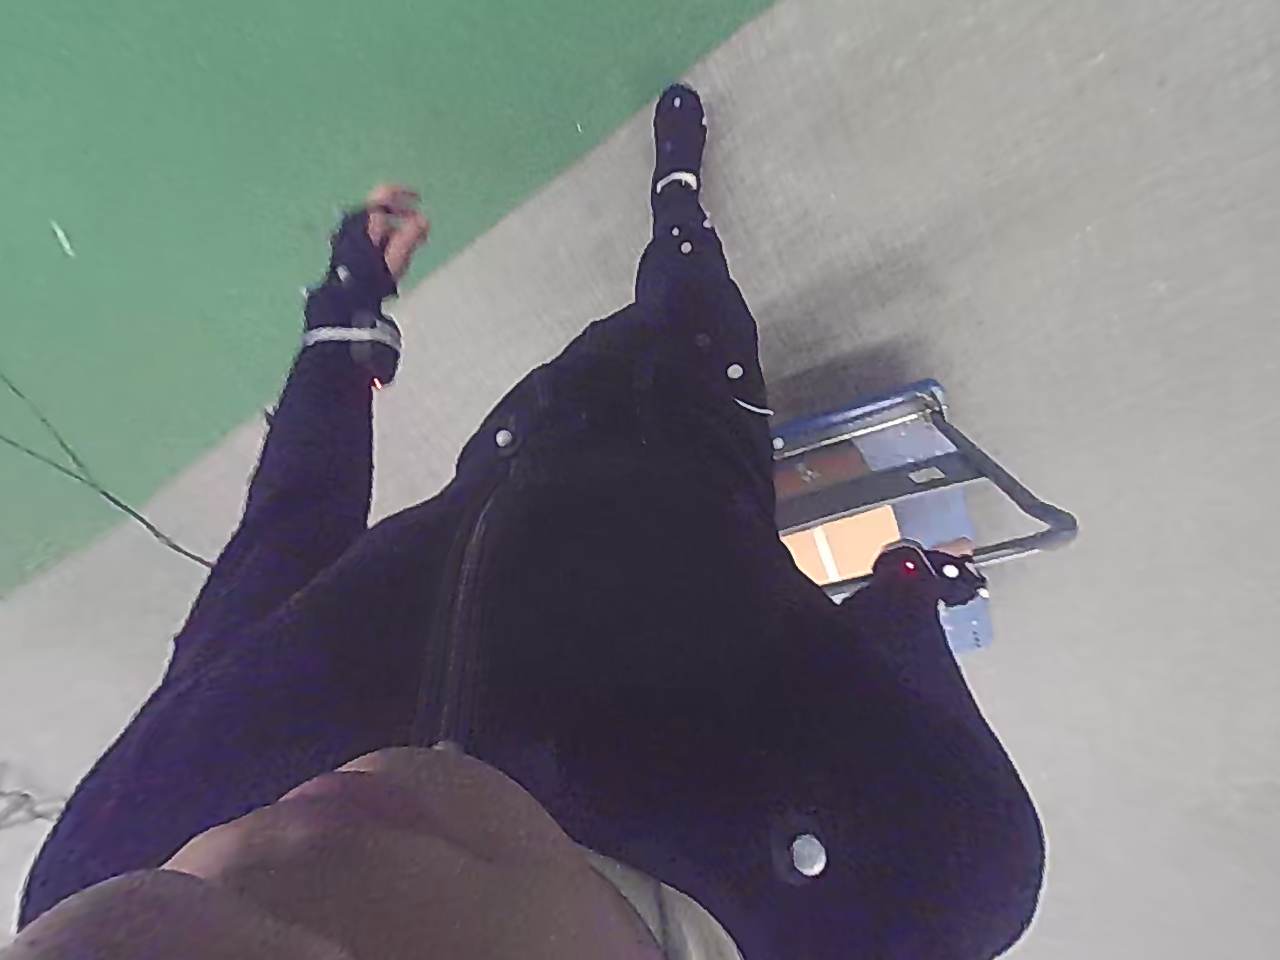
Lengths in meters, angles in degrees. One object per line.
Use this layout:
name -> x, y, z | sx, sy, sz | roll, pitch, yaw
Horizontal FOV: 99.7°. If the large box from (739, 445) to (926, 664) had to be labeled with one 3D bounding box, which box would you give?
large box -> 0.469, 0.183, 1.369 | 0.320, 0.320, 0.408 | -19, 113, 17
